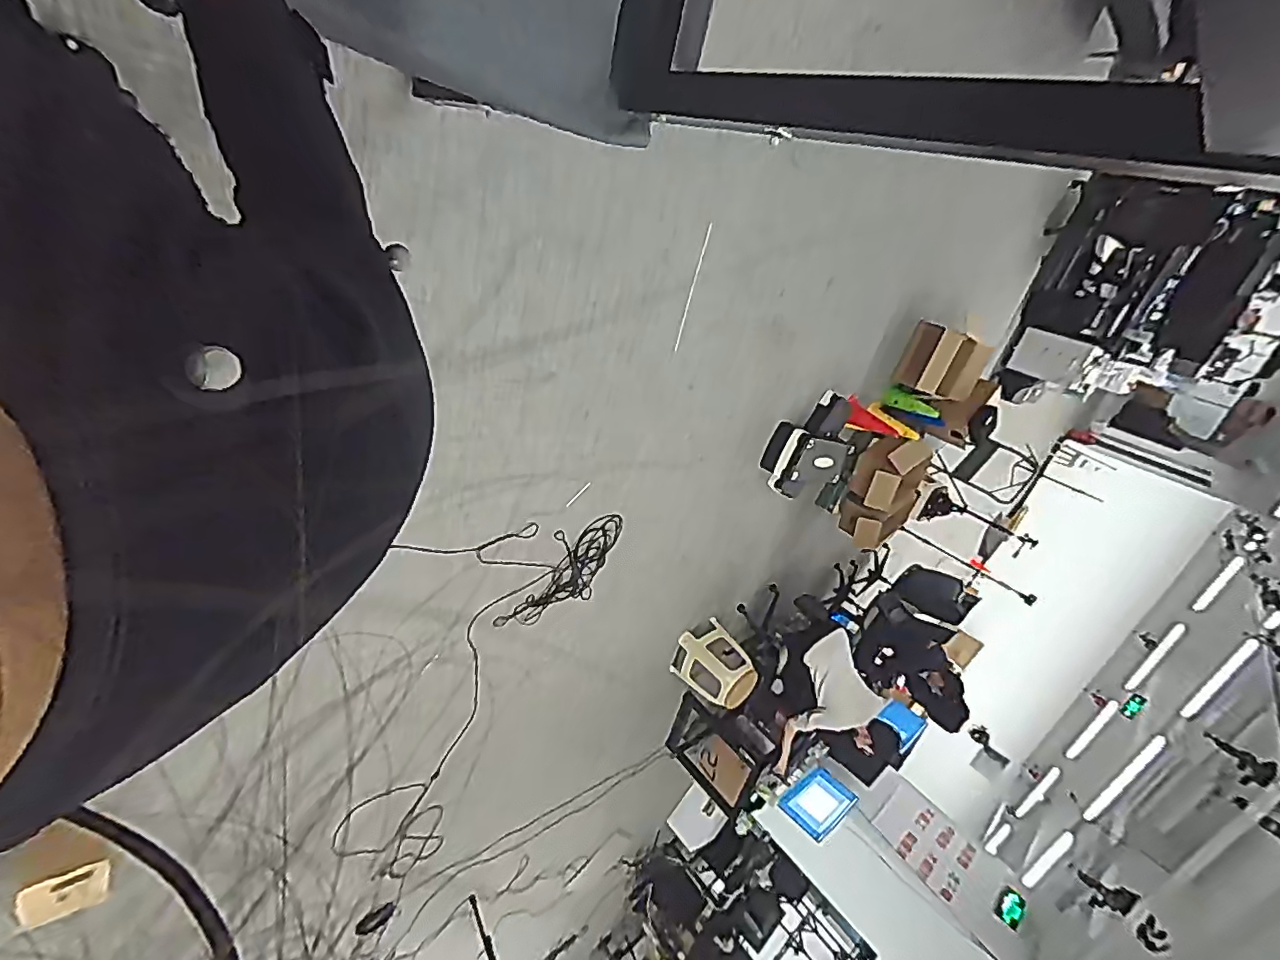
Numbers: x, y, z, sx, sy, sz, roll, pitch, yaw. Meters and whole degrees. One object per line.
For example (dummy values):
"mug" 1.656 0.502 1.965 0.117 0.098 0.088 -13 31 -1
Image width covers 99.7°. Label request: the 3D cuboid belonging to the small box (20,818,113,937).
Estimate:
"small box" -1.544 1.052 1.455 0.168 0.176 0.179 1 117 -46
